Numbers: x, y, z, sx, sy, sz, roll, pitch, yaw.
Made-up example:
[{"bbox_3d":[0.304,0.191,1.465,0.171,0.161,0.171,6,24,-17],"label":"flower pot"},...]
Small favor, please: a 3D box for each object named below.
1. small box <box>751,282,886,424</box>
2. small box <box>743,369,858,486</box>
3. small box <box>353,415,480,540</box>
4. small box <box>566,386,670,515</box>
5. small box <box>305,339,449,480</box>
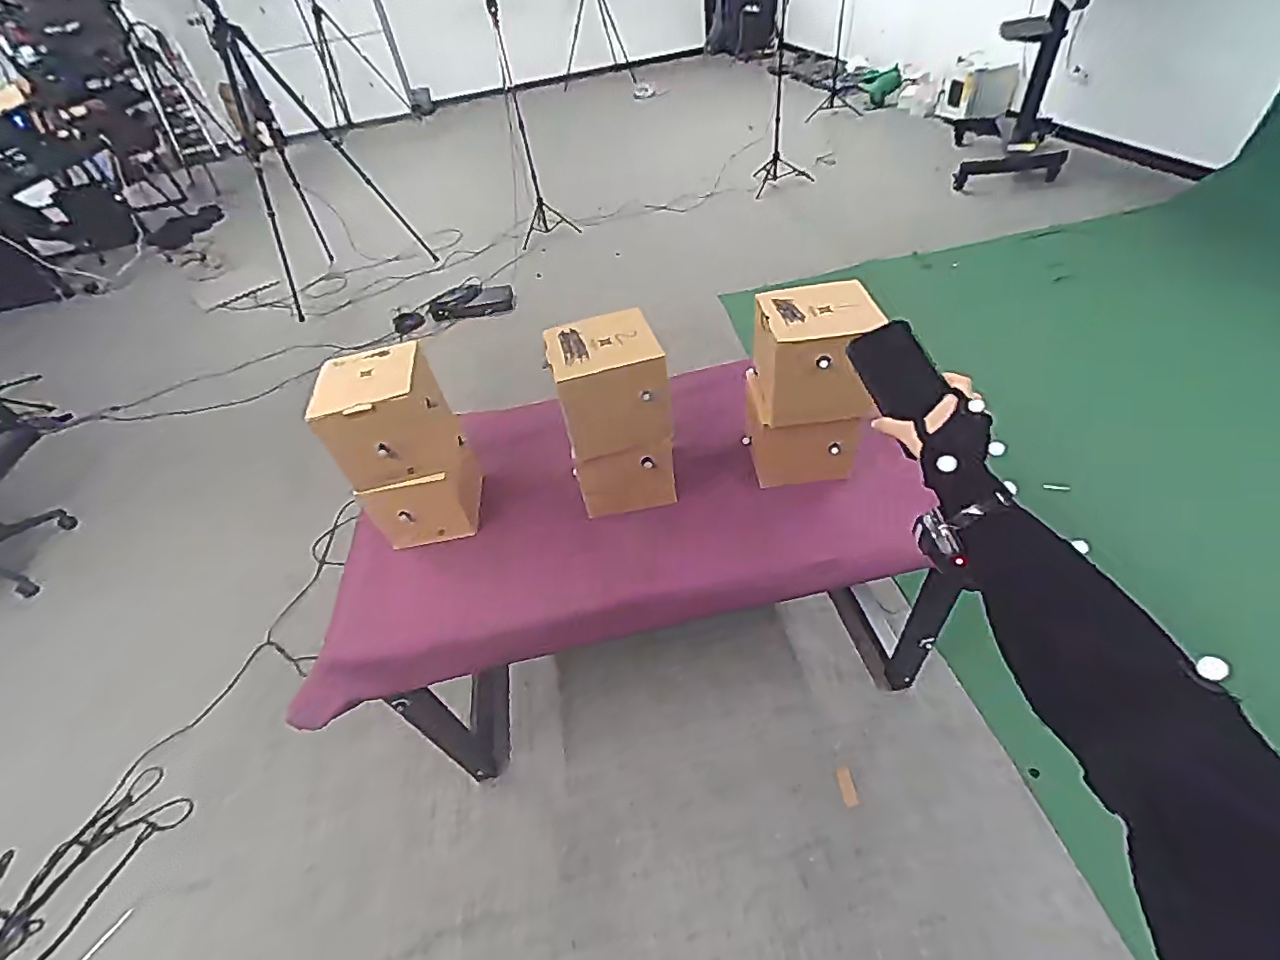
[{"bbox_3d":[0.288,-0.210,0.916,0.179,0.176,0.168,-6,45,3],"label":"small box"},{"bbox_3d":[0.298,-0.106,1.043,0.179,0.176,0.168,-6,45,5],"label":"small box"},{"bbox_3d":[-0.425,0.002,1.063,0.168,0.176,0.179,-10,45,0],"label":"small box"},{"bbox_3d":[-0.039,-0.055,1.050,0.179,0.176,0.168,-11,45,0],"label":"small box"},{"bbox_3d":[-0.447,-0.117,0.952,0.168,0.176,0.179,-13,46,-4],"label":"small box"}]
